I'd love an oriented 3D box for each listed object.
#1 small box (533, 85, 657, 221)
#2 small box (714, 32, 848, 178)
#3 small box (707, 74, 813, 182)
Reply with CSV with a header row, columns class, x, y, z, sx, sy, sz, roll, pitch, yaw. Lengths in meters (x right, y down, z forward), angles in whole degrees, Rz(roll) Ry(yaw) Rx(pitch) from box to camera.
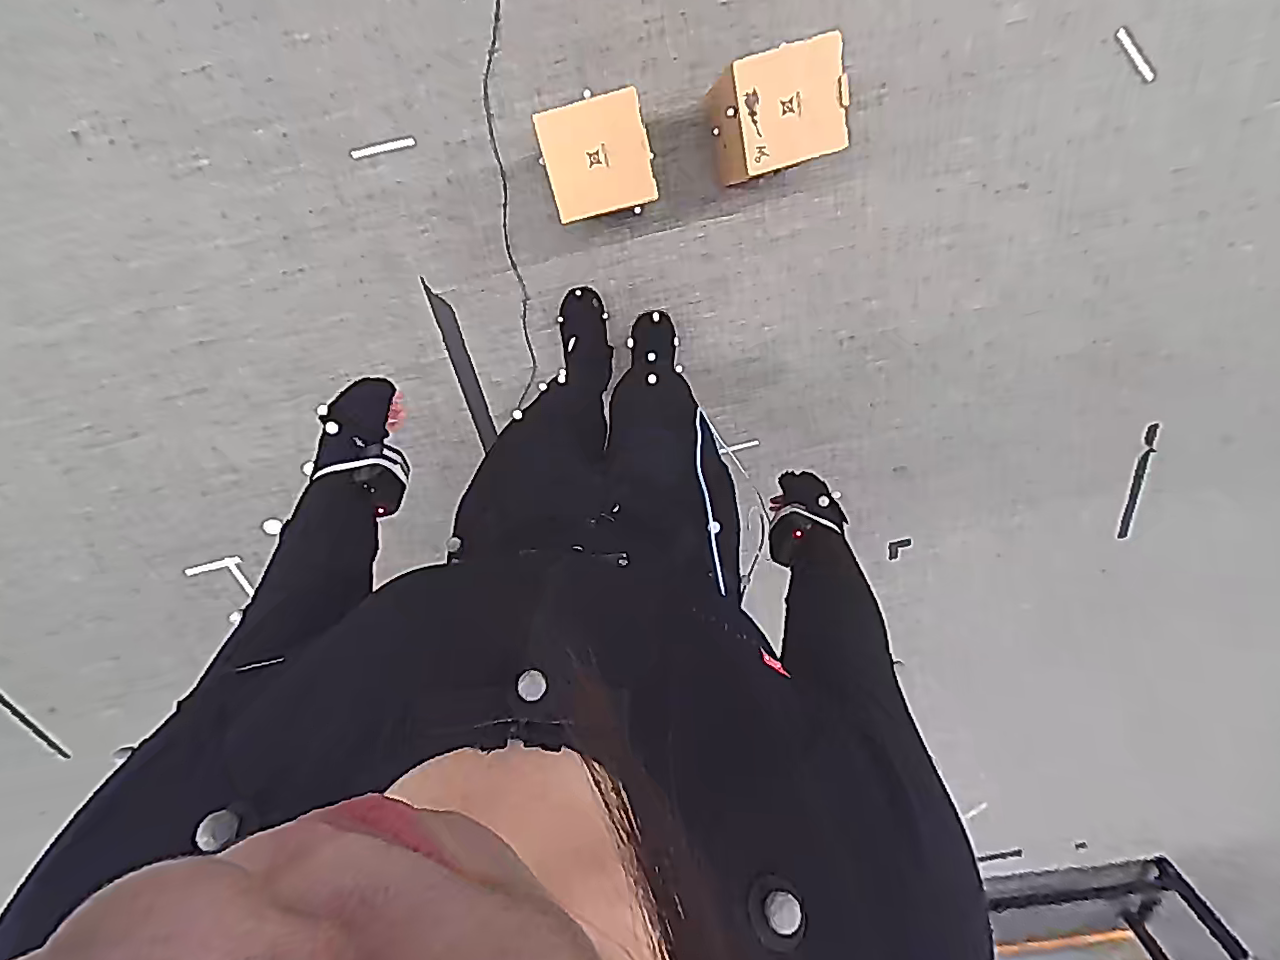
class,x,y,z,sx,sy,sz,roll,pitch,yaw
small box,-0.074,-0.573,0.967,0.179,0.176,0.168,-14,117,4
small box,0.241,-0.643,0.947,0.179,0.176,0.168,-14,117,3
small box,0.238,-0.719,1.093,0.168,0.176,0.179,-13,118,4
